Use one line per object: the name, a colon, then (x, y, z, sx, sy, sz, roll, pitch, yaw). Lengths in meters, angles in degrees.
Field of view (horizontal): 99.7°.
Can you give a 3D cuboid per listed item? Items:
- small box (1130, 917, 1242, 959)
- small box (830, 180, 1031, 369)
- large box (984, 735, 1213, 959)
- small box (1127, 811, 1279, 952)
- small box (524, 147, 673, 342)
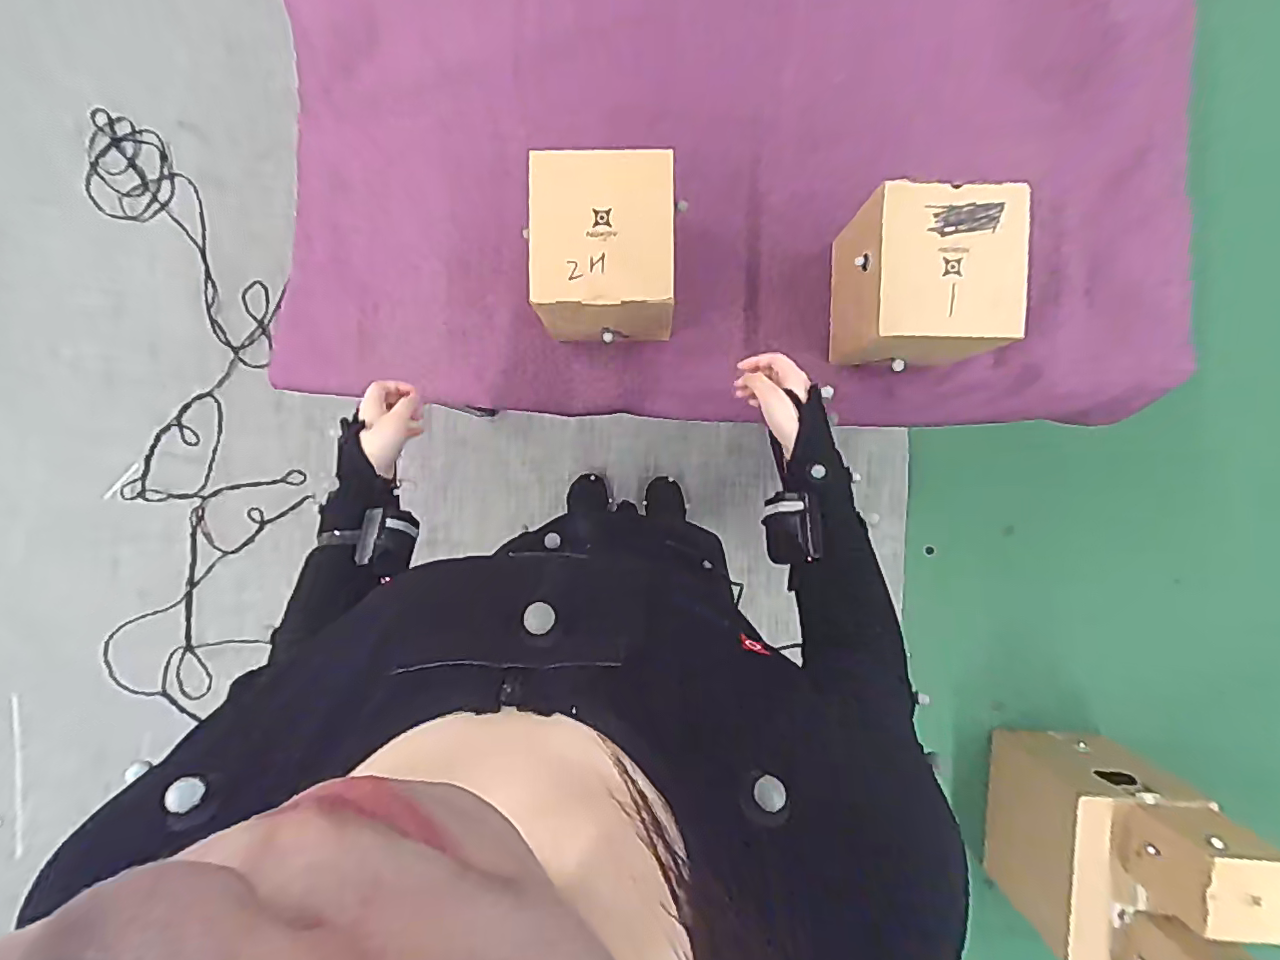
small box: (1.157, 1.059, 1.109, 0.168, 0.176, 0.179, 8, 91, 0)
small box: (0.348, -0.244, 0.678, 0.168, 0.176, 0.179, 2, 91, 1)
large box: (1.112, 0.908, 1.352, 0.320, 0.320, 0.408, 3, 92, 1)
small box: (1.165, 0.810, 1.106, 0.179, 0.176, 0.168, 3, 92, 0)
small box: (-0.046, -0.284, 0.681, 0.168, 0.176, 0.179, 0, 90, 1)
